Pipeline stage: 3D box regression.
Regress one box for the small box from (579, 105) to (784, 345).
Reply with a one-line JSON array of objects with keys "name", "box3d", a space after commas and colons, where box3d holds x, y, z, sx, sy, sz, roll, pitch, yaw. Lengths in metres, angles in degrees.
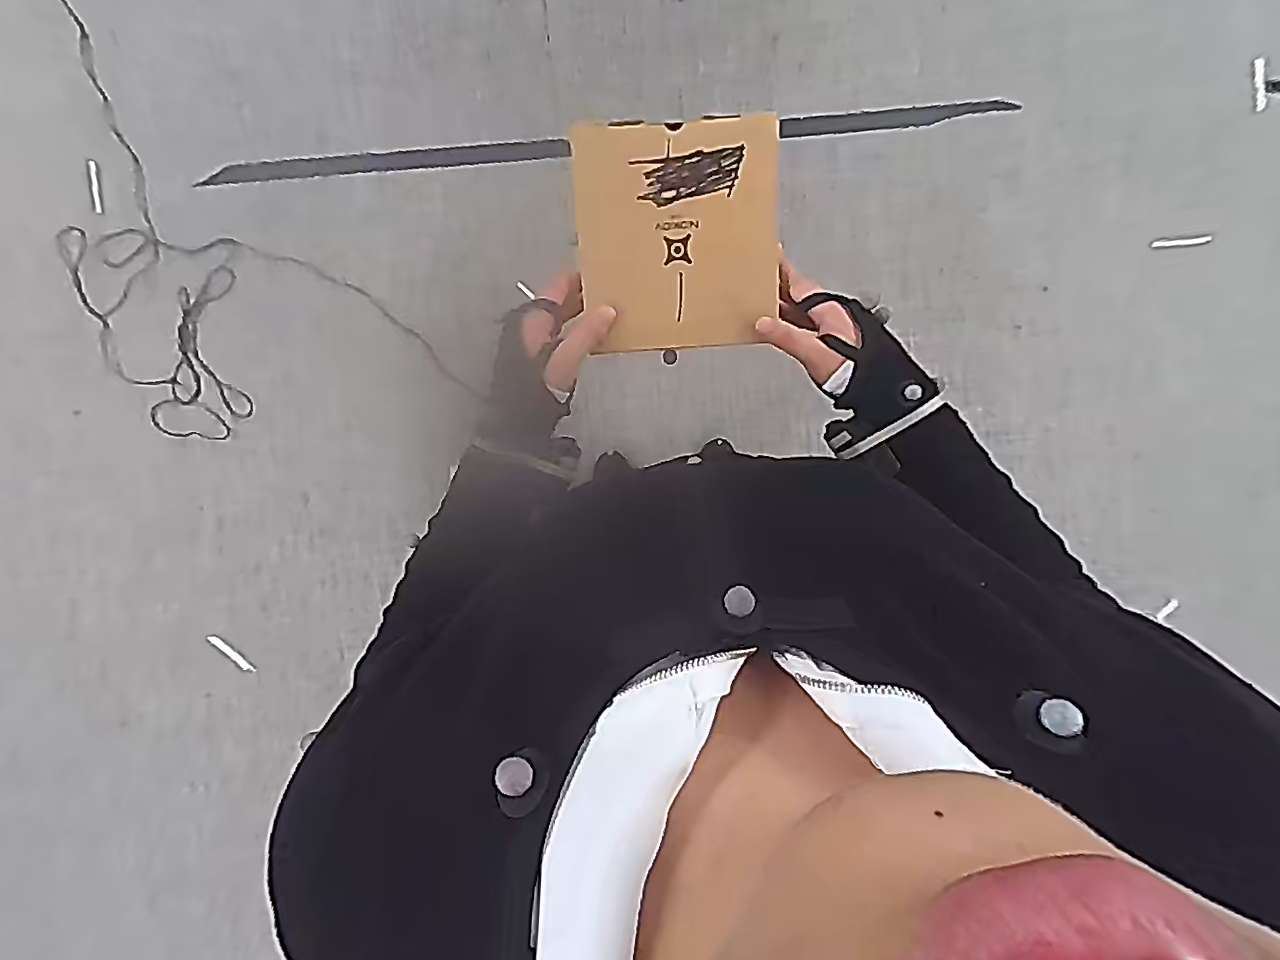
[{"name": "small box", "box3d": [0.036, -0.225, 0.522, 0.168, 0.176, 0.179, -3, 104, 1]}]
